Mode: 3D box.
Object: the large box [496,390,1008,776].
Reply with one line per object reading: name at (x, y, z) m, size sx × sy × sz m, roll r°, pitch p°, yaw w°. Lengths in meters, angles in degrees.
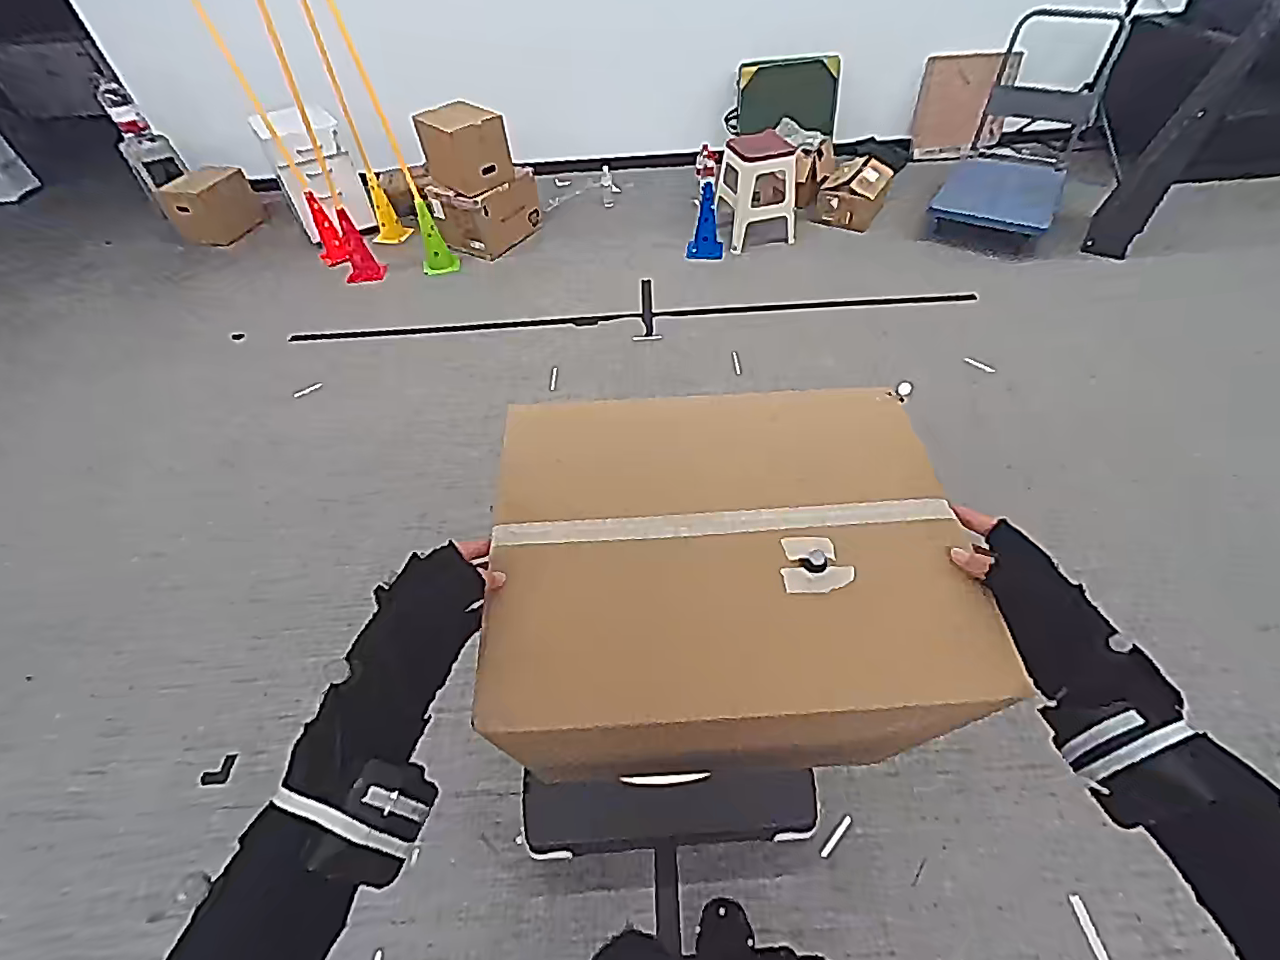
large box at (0.076, 0.126, 0.612) m, size 0.408 × 0.320 × 0.320 m, roll -4°, pitch 56°, yaw -2°
